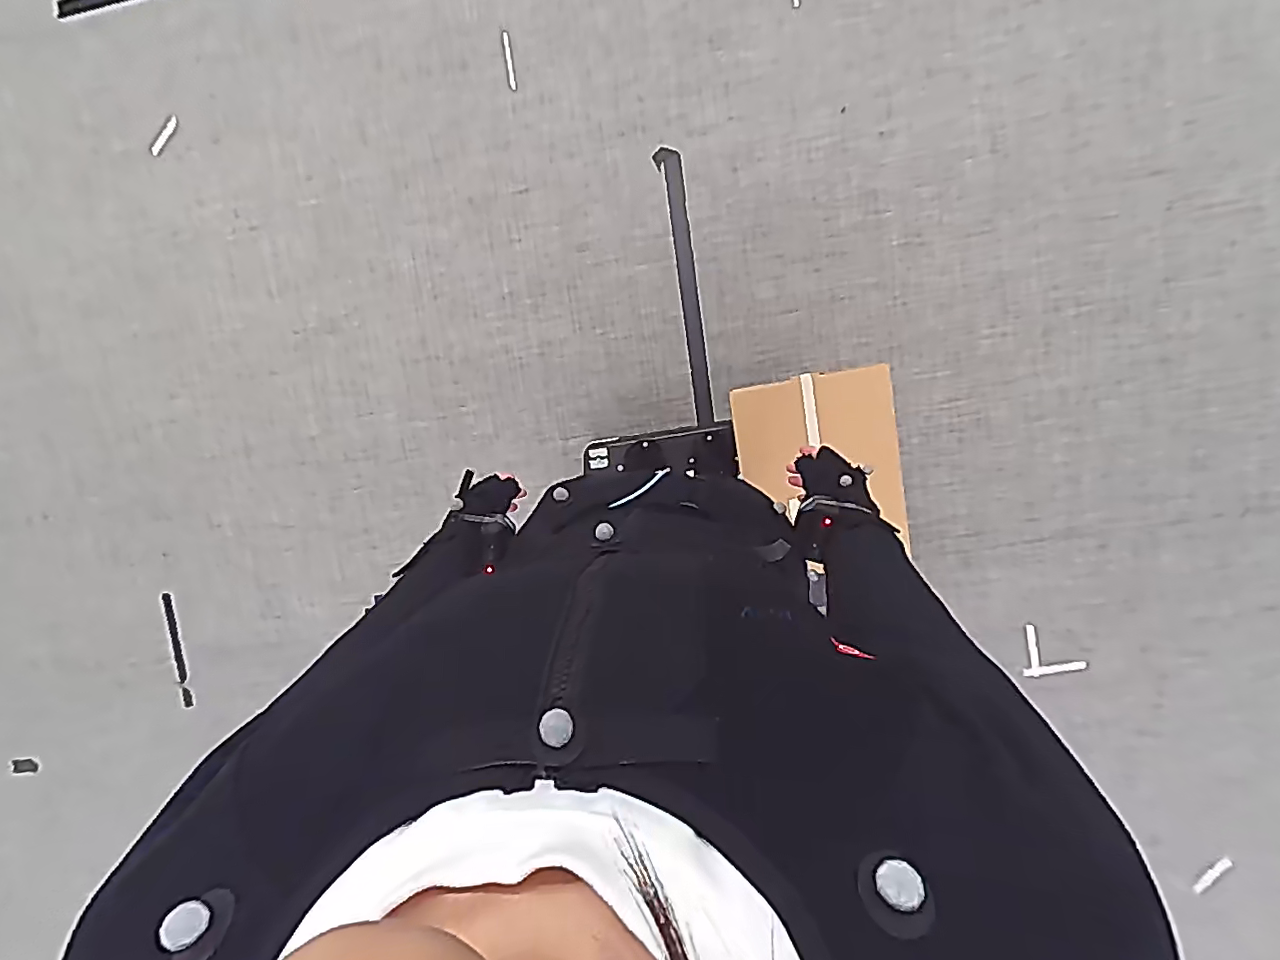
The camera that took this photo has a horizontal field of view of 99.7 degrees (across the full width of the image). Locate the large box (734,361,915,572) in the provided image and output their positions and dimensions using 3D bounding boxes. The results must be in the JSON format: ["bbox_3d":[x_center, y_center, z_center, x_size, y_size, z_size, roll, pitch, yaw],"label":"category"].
[{"bbox_3d":[0.404,-0.040,1.246,0.320,0.320,0.408,-8,97,14],"label":"large box"}]
